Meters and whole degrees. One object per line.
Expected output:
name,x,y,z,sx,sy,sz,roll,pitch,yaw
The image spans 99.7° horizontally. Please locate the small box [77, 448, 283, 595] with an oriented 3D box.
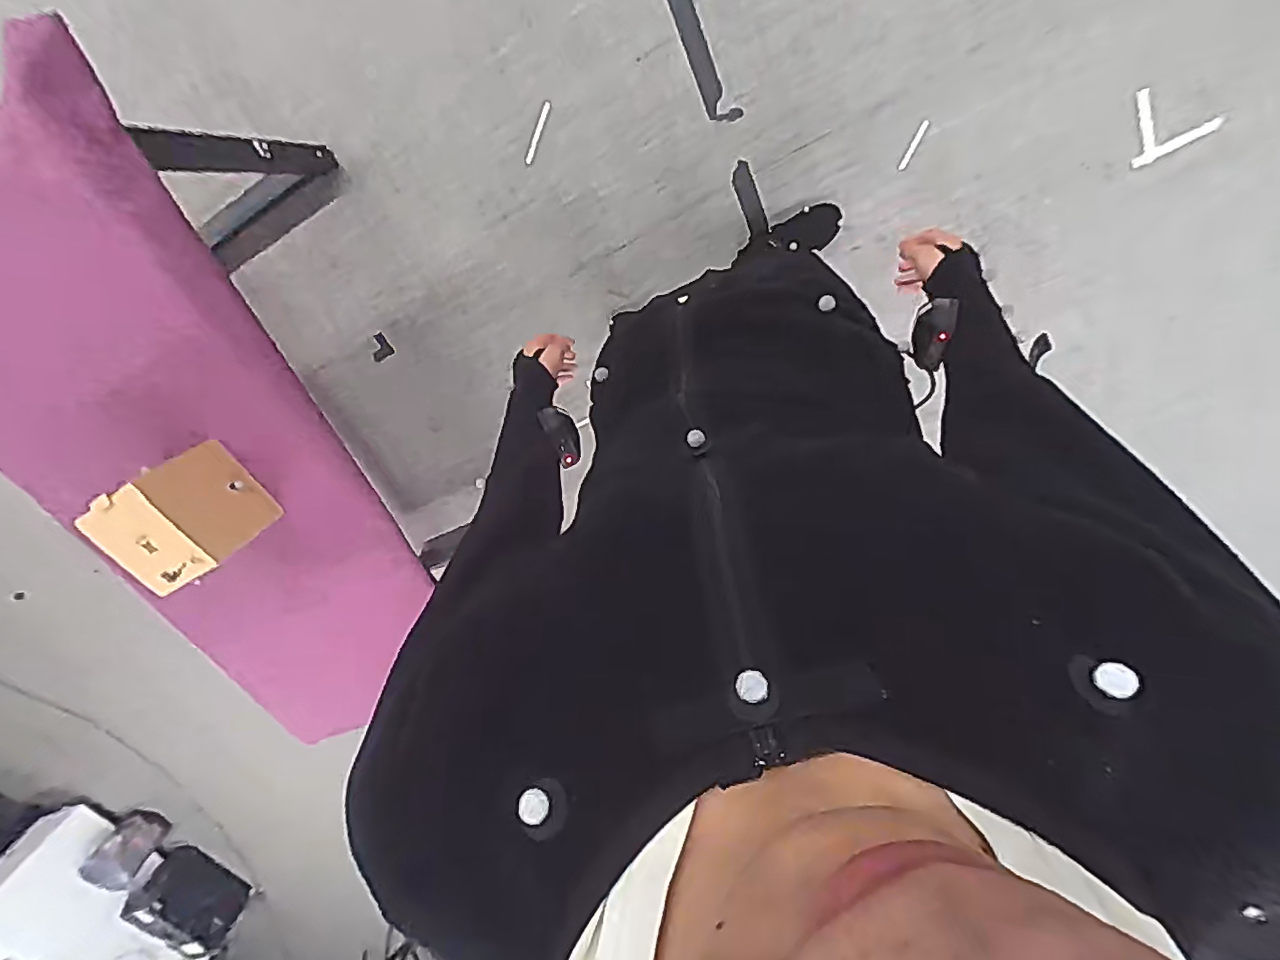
small box,-0.788,0.063,0.946,0.168,0.176,0.179,-24,113,19
